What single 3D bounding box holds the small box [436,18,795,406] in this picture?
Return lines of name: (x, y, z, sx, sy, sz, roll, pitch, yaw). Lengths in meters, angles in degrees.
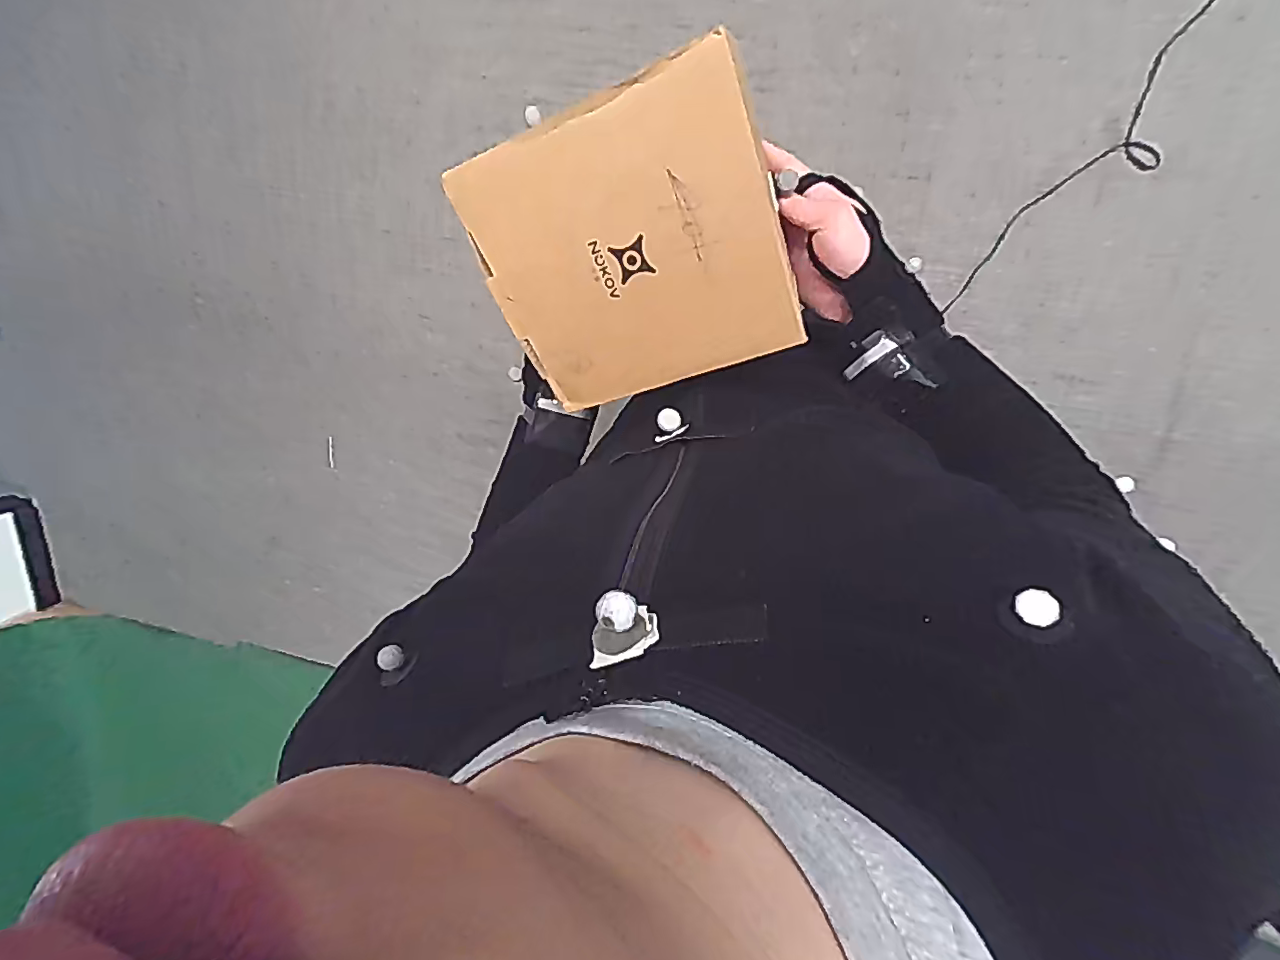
small box: (0.002, -0.181, 0.385, 0.179, 0.176, 0.168, -15, 123, 21)
